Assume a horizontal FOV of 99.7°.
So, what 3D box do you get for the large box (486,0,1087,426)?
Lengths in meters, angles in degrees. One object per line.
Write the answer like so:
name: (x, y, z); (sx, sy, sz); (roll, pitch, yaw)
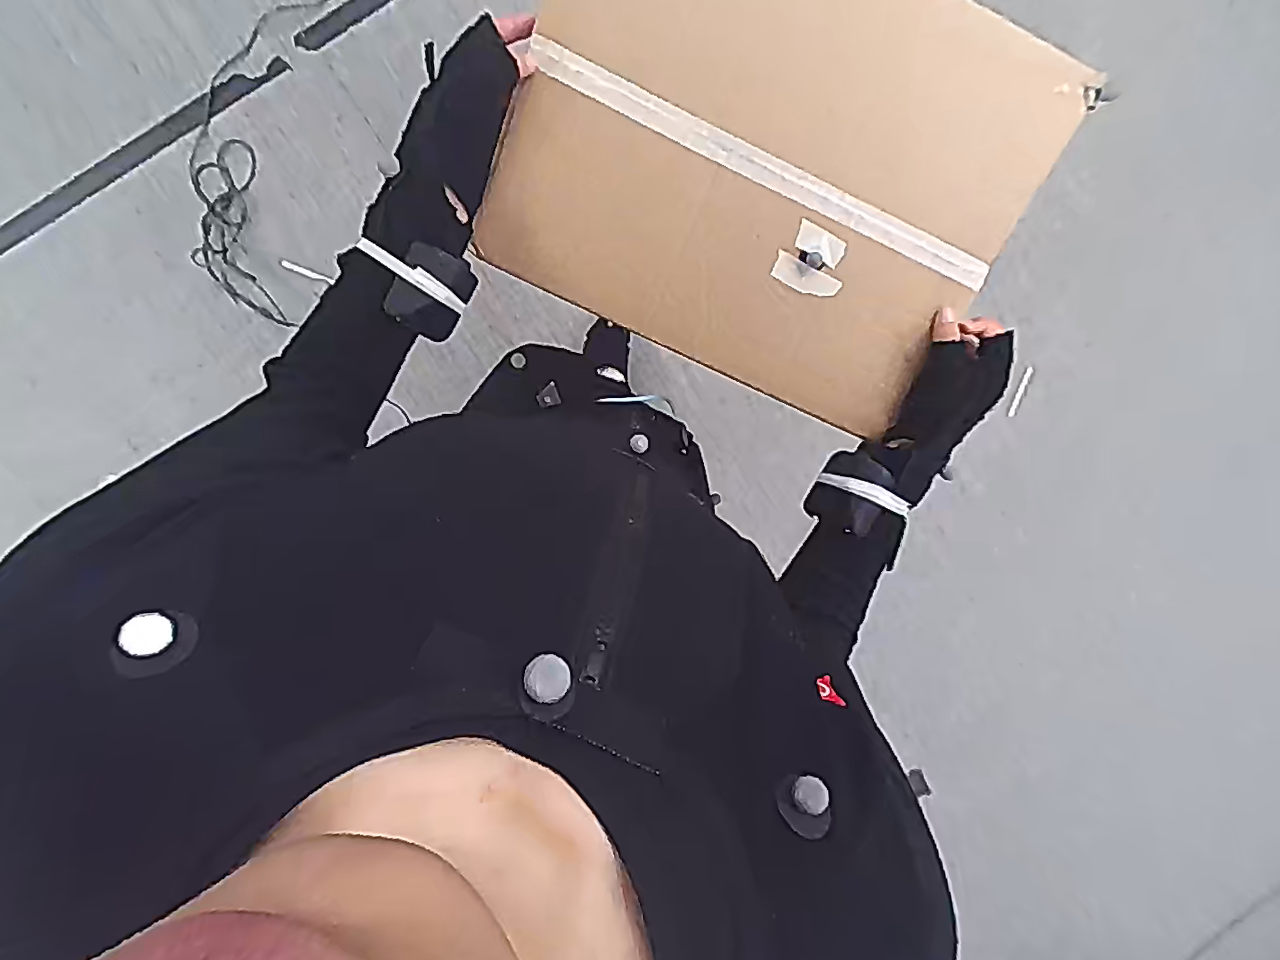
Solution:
large box: (0.108, -0.302, 0.581); (0.408, 0.320, 0.320); (24, 108, -7)
